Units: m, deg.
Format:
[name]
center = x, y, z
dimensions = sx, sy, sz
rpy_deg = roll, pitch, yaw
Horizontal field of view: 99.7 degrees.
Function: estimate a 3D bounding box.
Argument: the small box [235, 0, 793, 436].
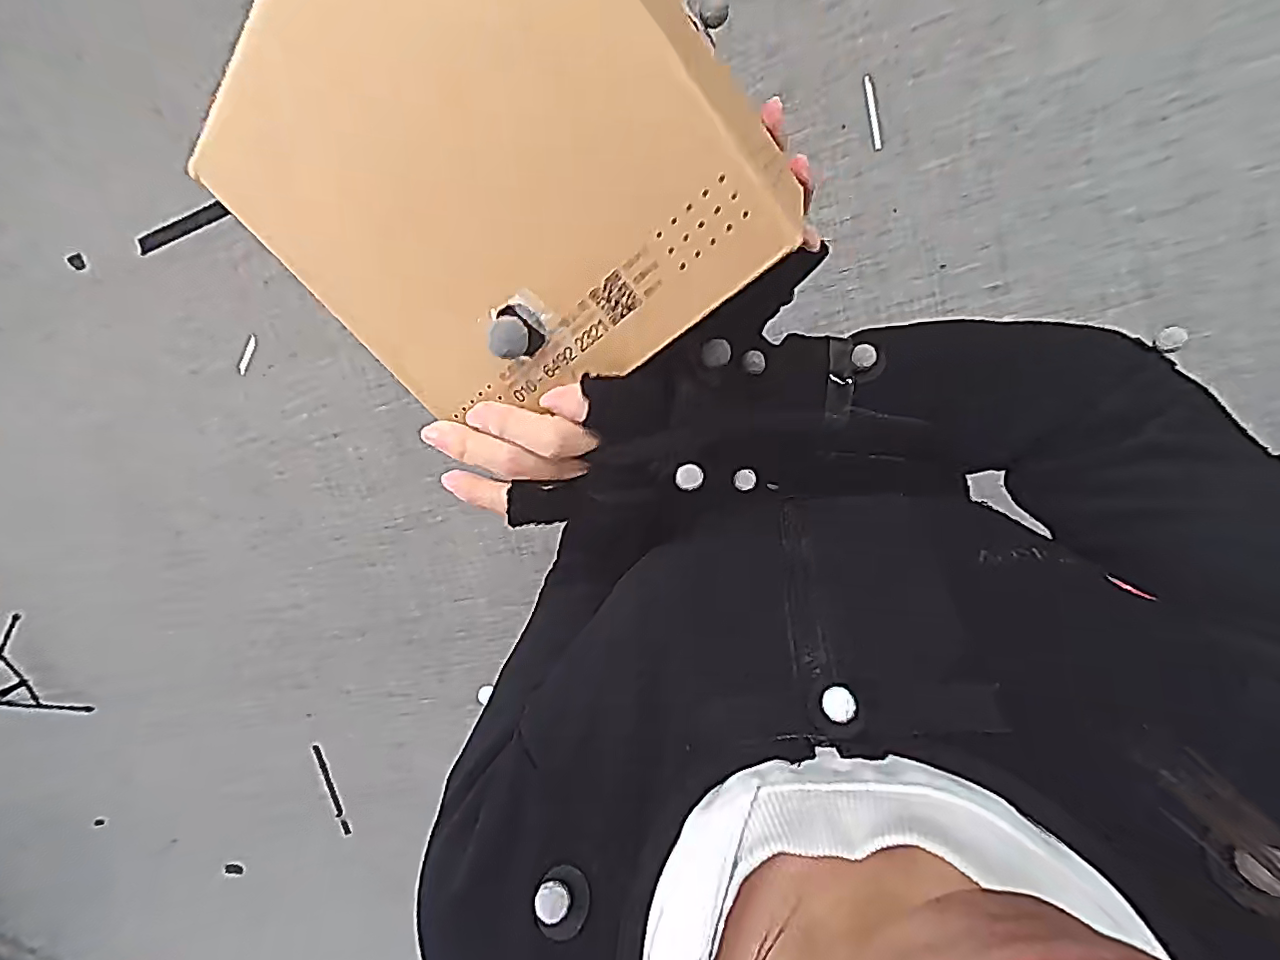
[small box]
center = -0.038, -0.151, 0.275
dimensions = 0.168, 0.179, 0.176
rpy_deg = -32, 109, 30
